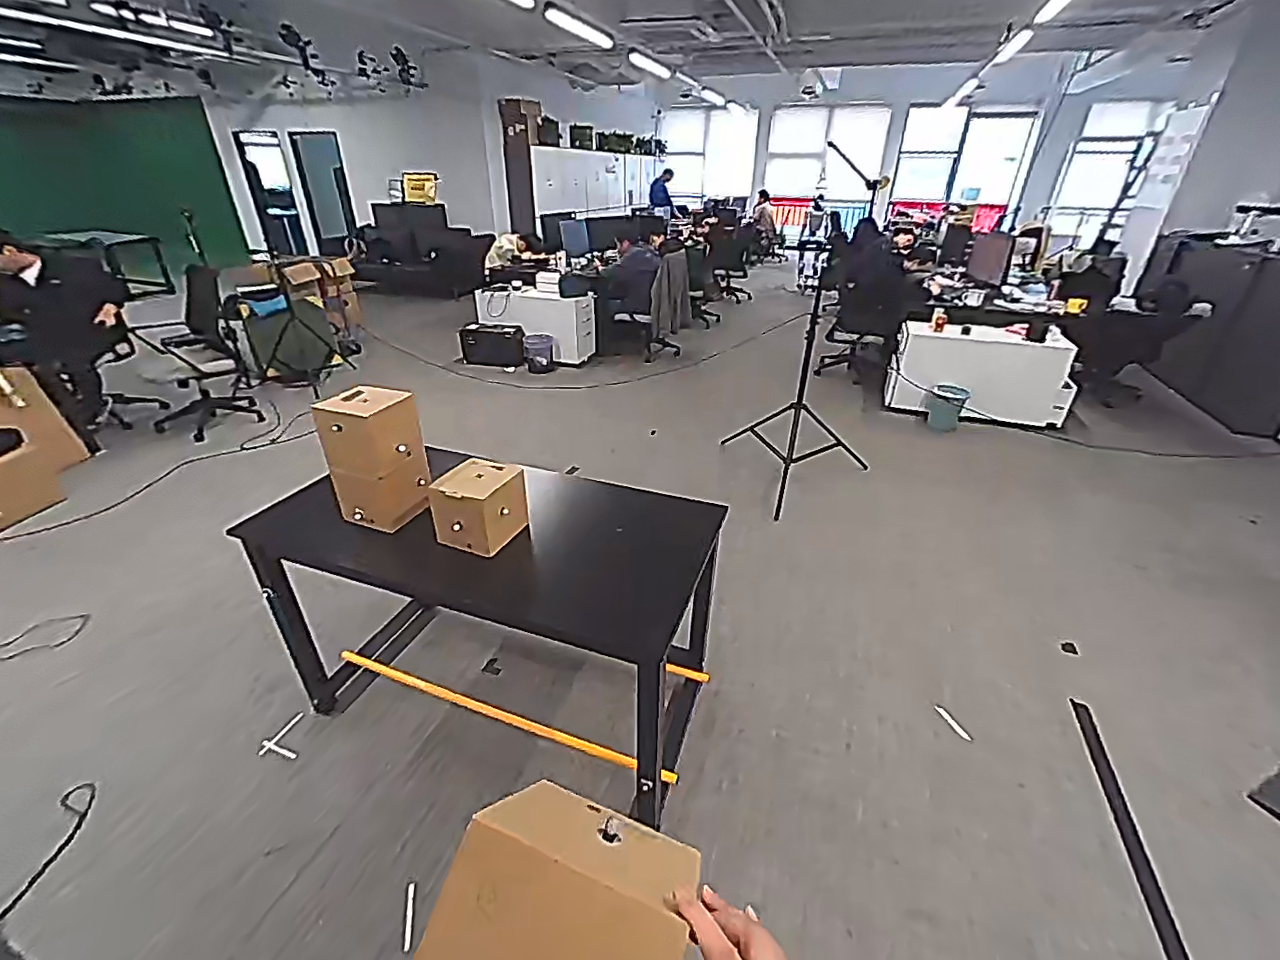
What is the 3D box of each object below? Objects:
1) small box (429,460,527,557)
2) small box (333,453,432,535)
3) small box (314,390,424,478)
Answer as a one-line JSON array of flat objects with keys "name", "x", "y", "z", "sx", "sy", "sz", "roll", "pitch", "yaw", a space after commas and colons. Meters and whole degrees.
[{"name": "small box", "x": -0.405, "y": 0.072, "z": 1.387, "sx": 0.168, "sy": 0.176, "sz": 0.179, "roll": 12, "pitch": 32, "yaw": 19}, {"name": "small box", "x": -0.688, "y": 0.023, "z": 1.471, "sx": 0.168, "sy": 0.176, "sz": 0.179, "roll": 10, "pitch": 31, "yaw": 18}, {"name": "small box", "x": -0.687, "y": -0.119, "z": 1.389, "sx": 0.179, "sy": 0.176, "sz": 0.168, "roll": 10, "pitch": 31, "yaw": 16}]
